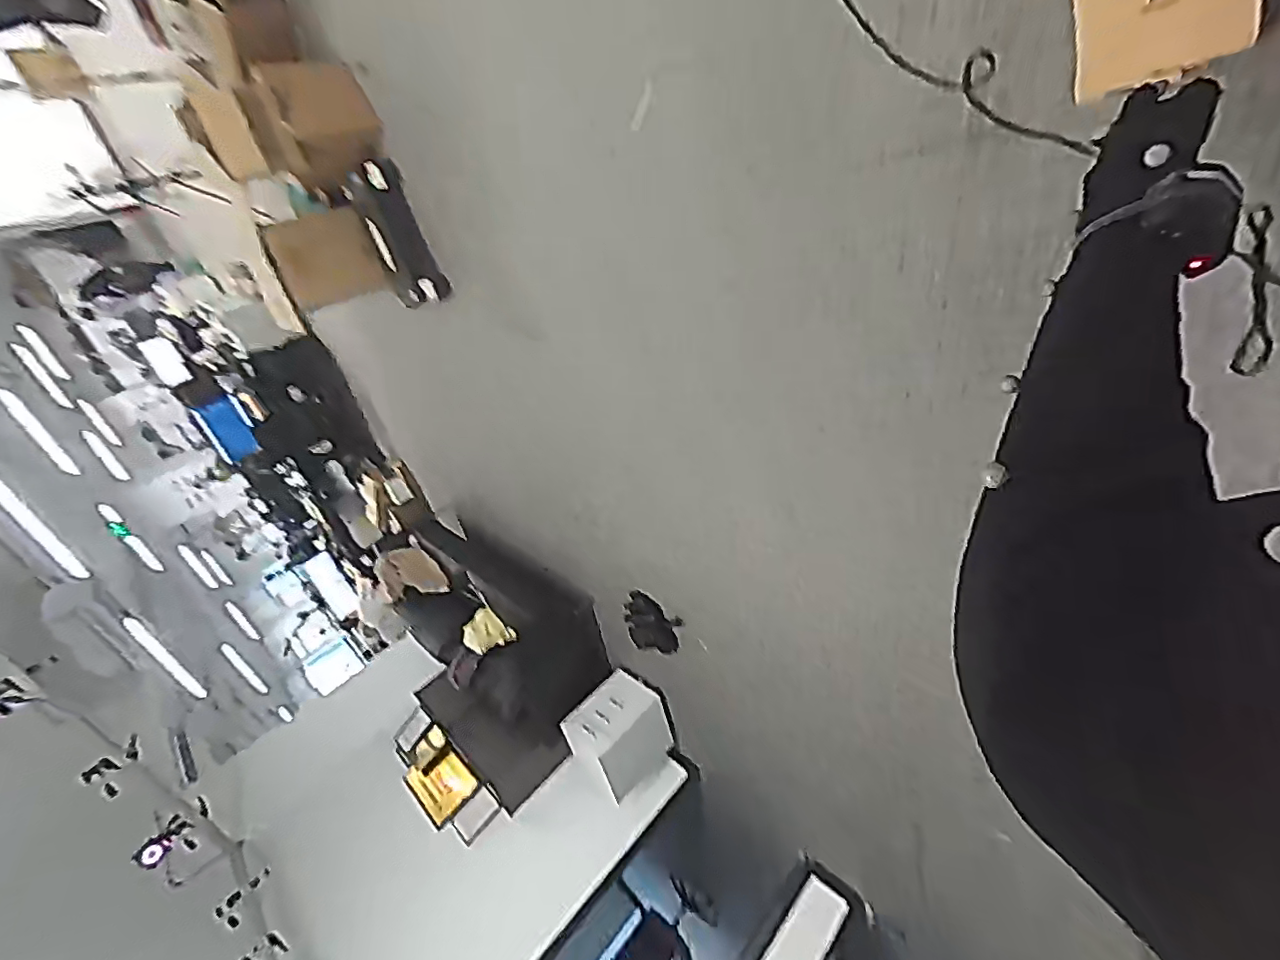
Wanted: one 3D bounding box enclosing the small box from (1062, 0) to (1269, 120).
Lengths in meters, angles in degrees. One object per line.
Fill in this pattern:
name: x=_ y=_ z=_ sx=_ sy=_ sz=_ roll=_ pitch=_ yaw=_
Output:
small box: x=0.667 y=-0.600 z=0.687 sx=0.168 sy=0.176 sz=0.179 roll=5 pitch=123 yaw=53
